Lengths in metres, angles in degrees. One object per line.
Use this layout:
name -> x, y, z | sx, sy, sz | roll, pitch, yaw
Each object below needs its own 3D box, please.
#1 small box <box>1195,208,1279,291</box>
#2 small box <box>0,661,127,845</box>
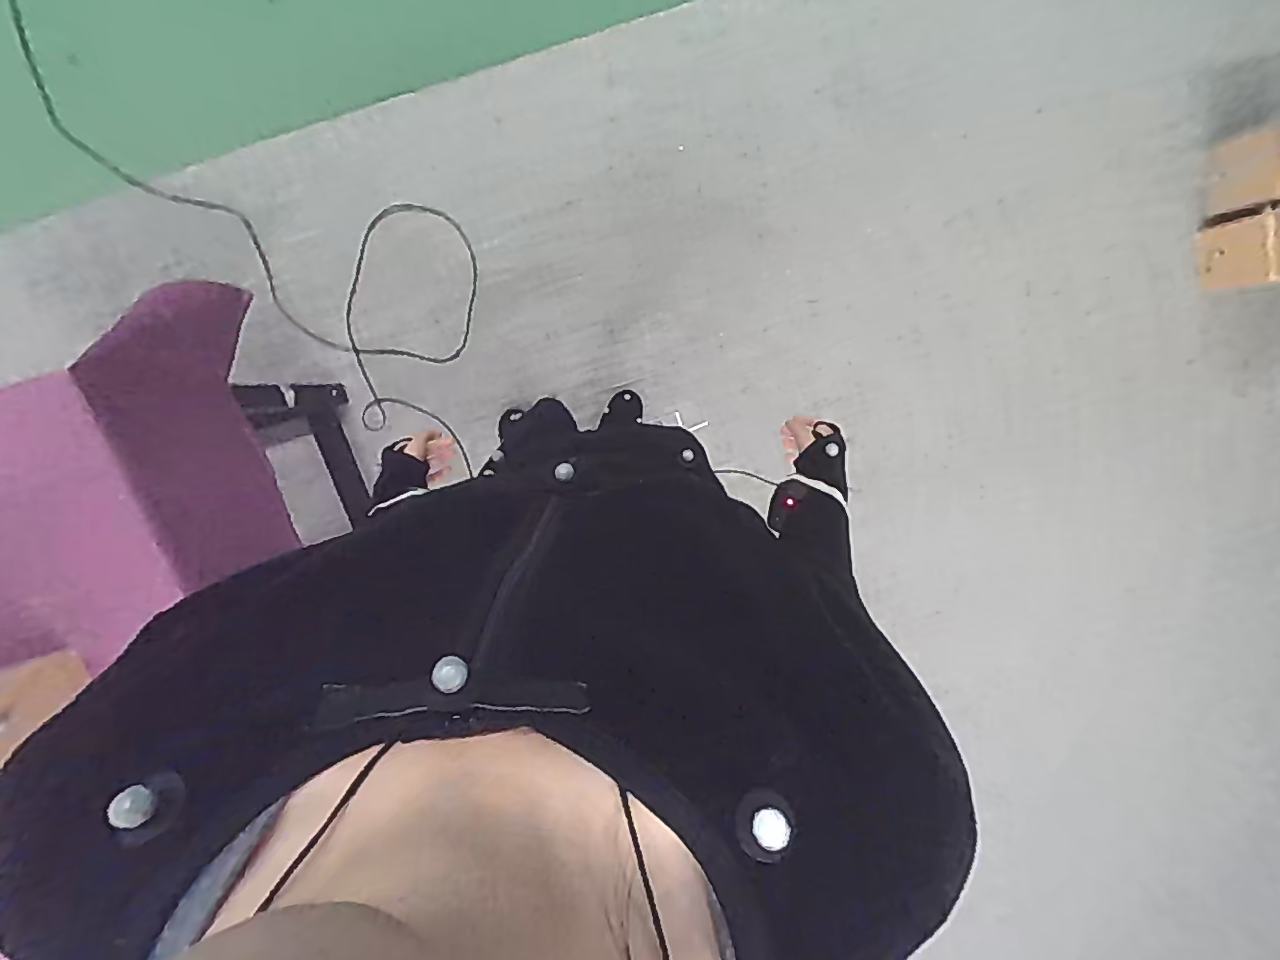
small box -> 1.597, -0.598, 1.384 | 0.179, 0.176, 0.168 | -17, 100, 2
small box -> -0.860, 0.363, 0.718 | 0.168, 0.176, 0.179 | -16, 100, 1
